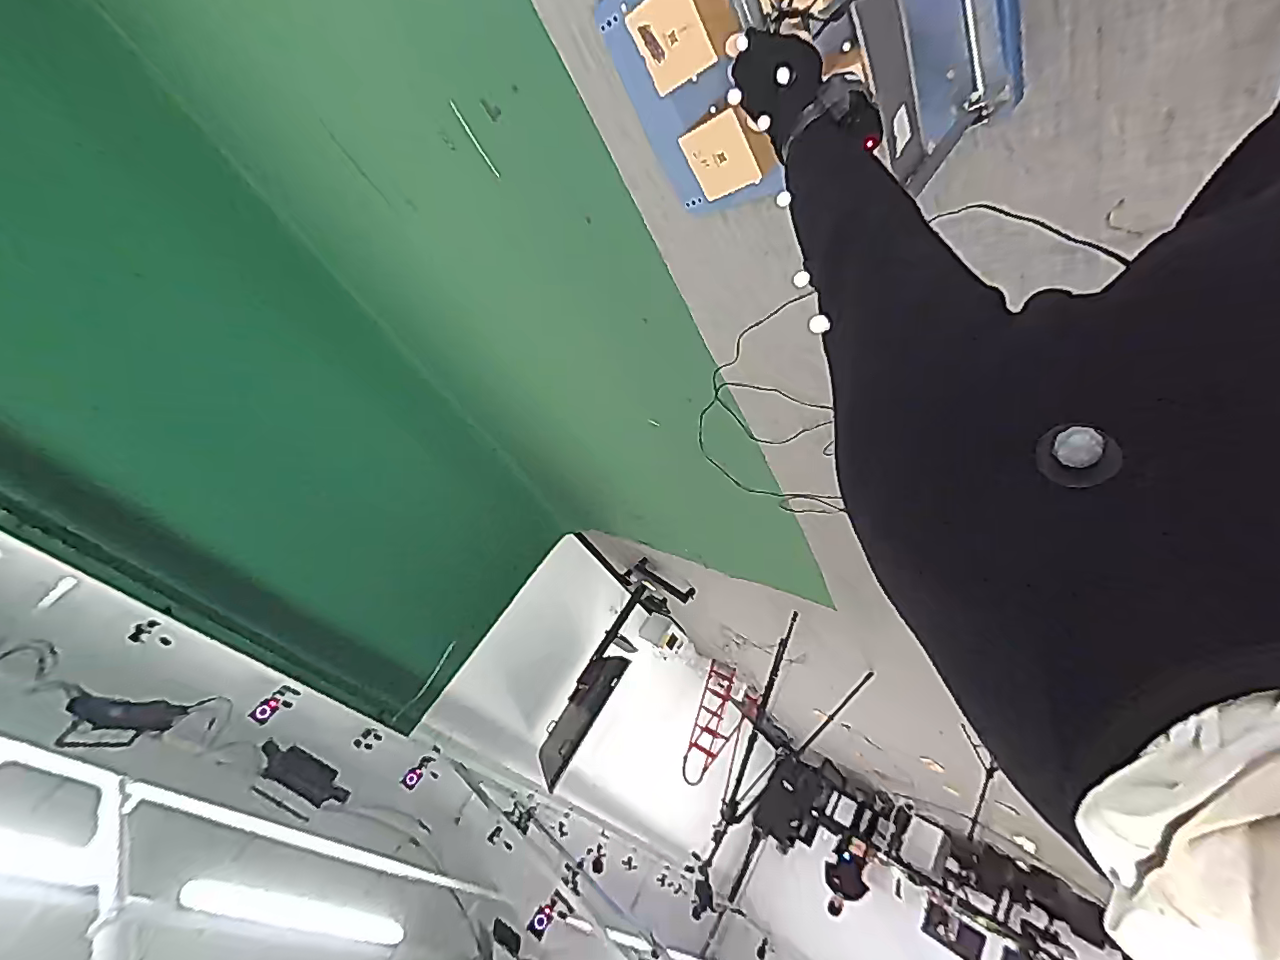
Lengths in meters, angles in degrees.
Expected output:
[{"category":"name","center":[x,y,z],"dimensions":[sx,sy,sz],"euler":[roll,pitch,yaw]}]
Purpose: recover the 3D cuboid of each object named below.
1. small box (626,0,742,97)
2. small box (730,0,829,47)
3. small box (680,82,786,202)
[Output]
[{"category":"small box","center":[0.109,-1.001,1.191],"dimensions":[0.179,0.176,0.168],"euler":[6,144,48]},{"category":"small box","center":[0.279,-0.971,1.015],"dimensions":[0.179,0.176,0.168],"euler":[10,146,45]},{"category":"small box","center":[0.238,-0.833,1.335],"dimensions":[0.179,0.176,0.168],"euler":[6,142,49]}]
